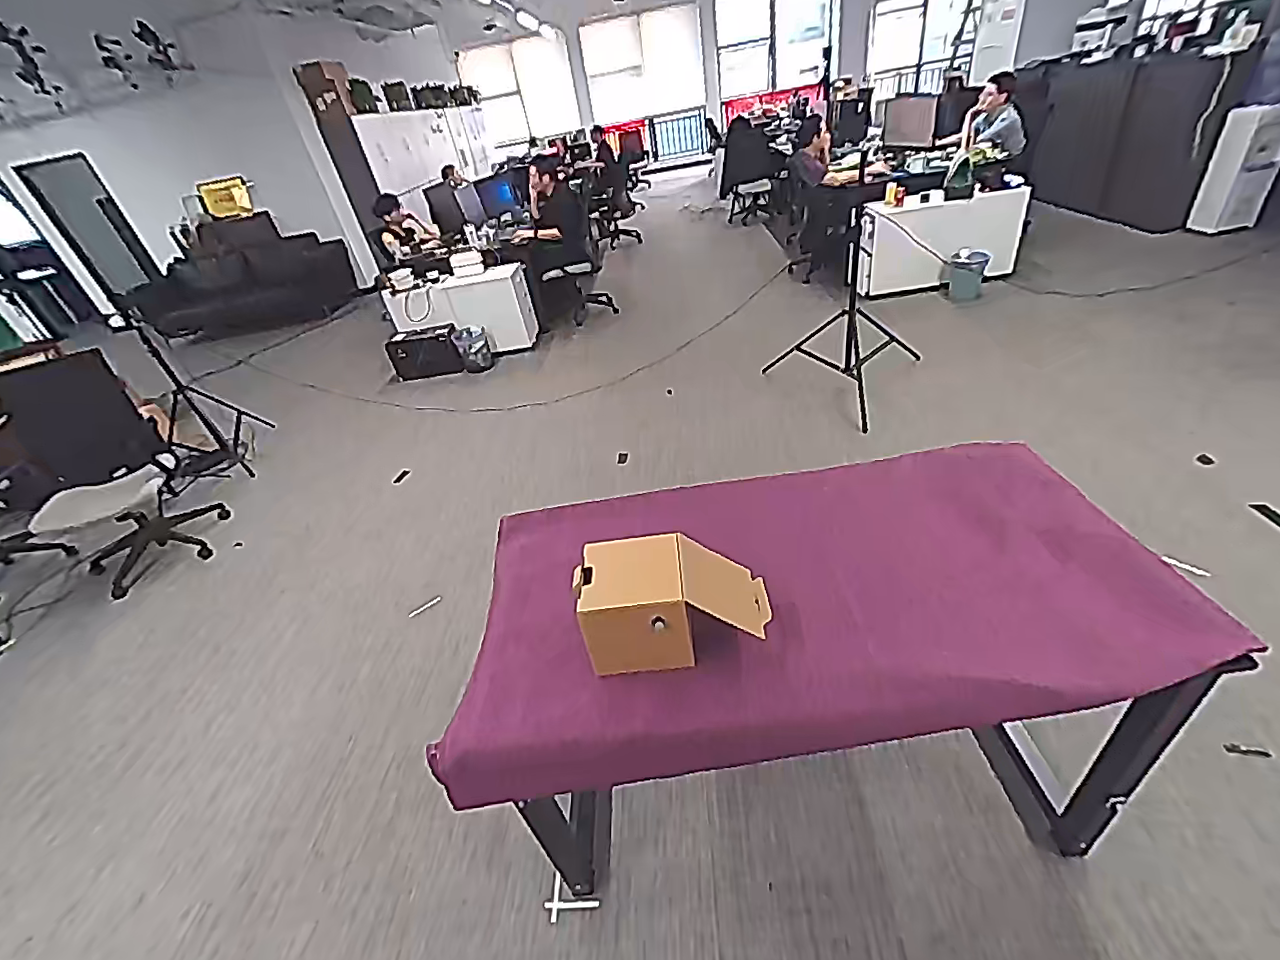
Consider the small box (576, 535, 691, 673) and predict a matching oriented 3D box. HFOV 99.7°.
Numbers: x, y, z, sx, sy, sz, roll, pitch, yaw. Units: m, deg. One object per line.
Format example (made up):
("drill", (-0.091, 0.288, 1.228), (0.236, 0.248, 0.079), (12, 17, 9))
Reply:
("small box", (-0.004, 0.222, 0.965), (0.179, 0.176, 0.168), (-8, 34, 6))
